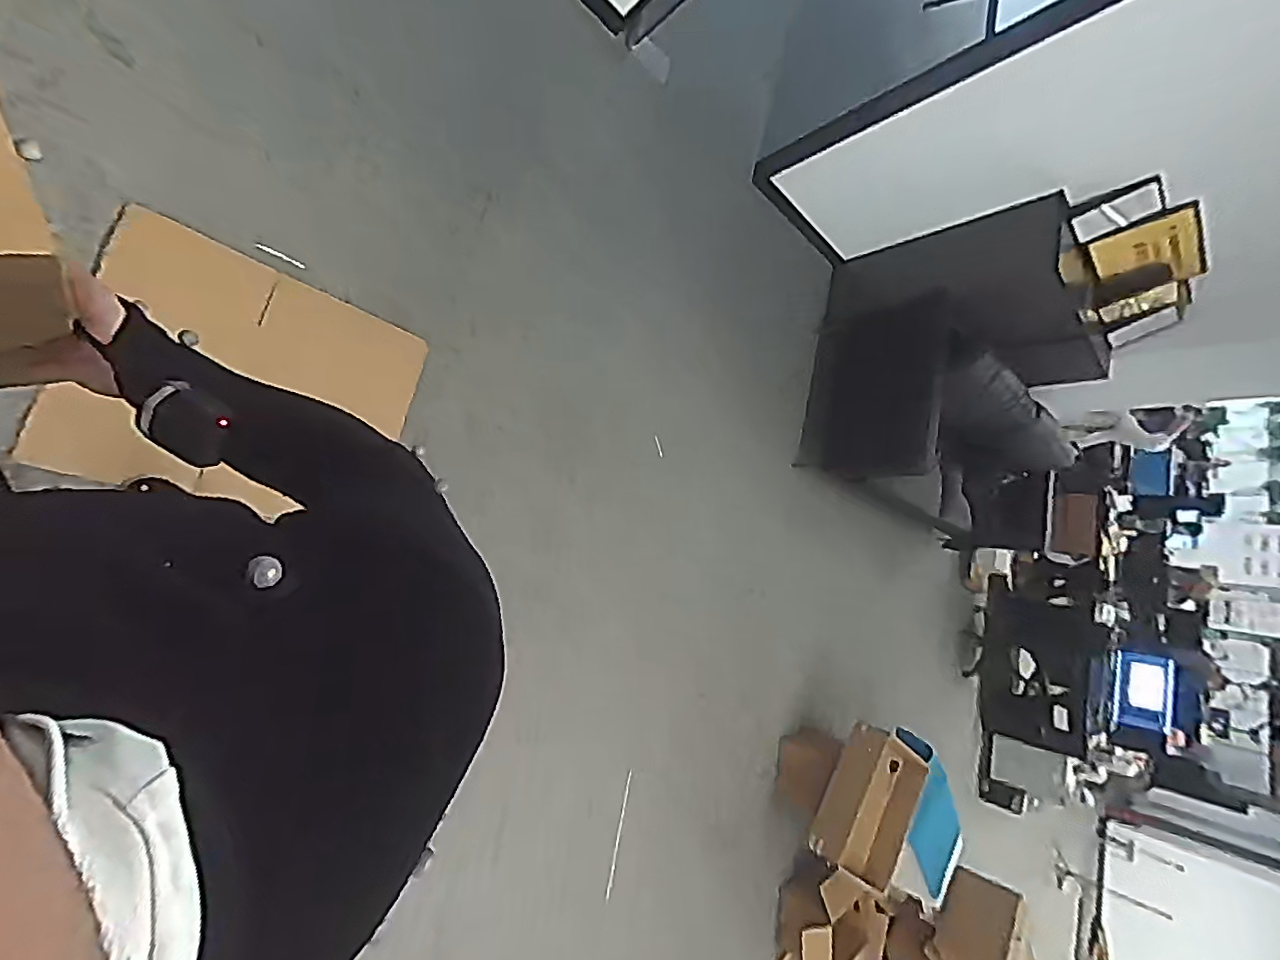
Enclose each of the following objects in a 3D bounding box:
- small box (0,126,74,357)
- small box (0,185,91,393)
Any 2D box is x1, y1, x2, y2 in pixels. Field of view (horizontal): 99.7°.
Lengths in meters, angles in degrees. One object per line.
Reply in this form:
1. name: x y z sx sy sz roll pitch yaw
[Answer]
1. small box: -0.567 -0.187 0.404 0.168 0.176 0.179 -20 102 -43
2. small box: -0.678 -0.182 0.526 0.168 0.176 0.179 -21 103 -41
